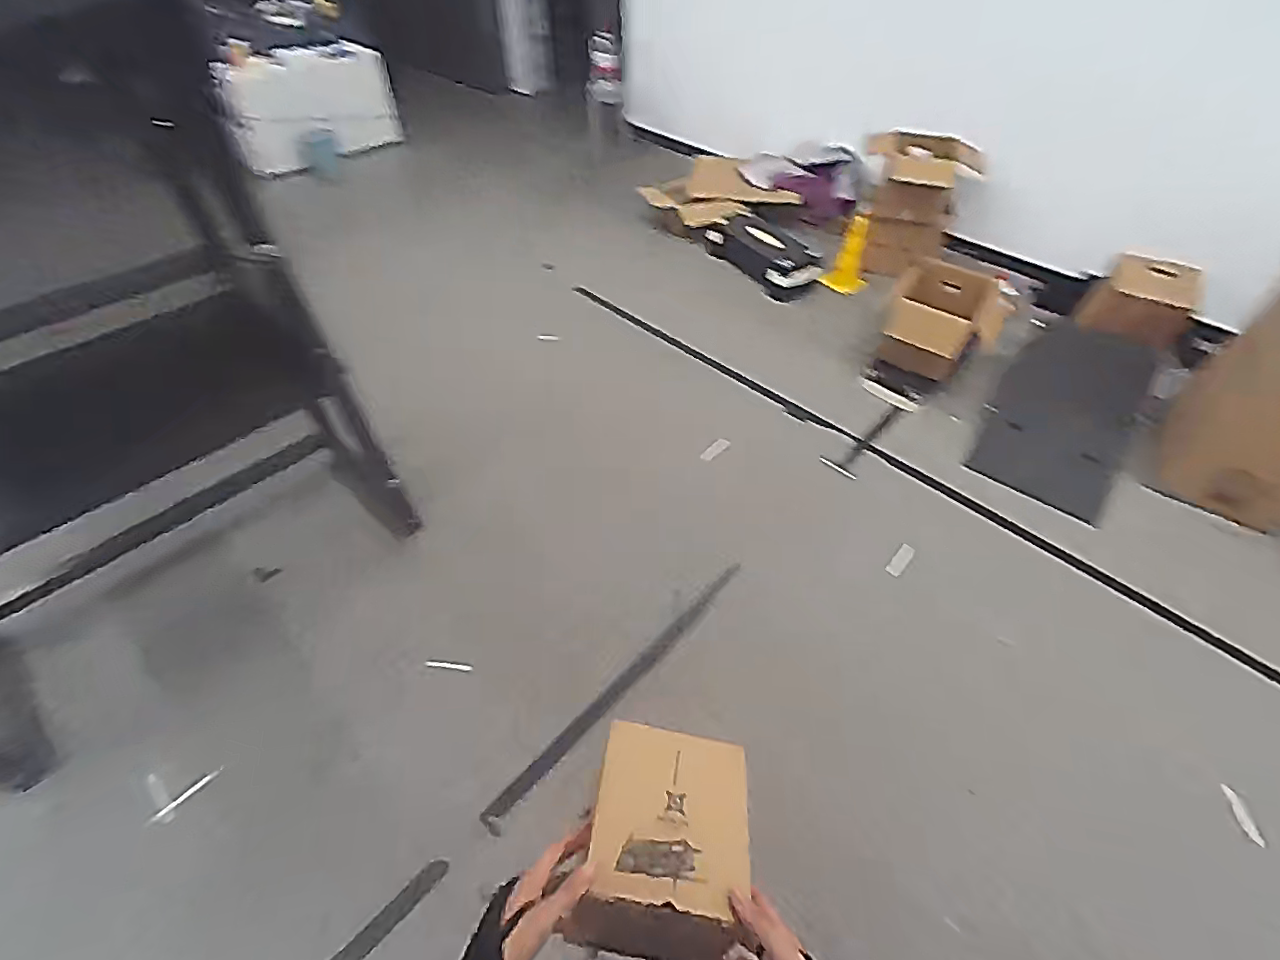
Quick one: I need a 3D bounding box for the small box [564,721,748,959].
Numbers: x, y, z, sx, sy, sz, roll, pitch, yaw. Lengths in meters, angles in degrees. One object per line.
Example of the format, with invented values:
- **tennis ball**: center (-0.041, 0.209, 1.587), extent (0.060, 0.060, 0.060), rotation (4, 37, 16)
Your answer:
- **small box**: center (0.015, 0.412, 0.612), extent (0.168, 0.176, 0.179), rotation (13, 35, -2)
